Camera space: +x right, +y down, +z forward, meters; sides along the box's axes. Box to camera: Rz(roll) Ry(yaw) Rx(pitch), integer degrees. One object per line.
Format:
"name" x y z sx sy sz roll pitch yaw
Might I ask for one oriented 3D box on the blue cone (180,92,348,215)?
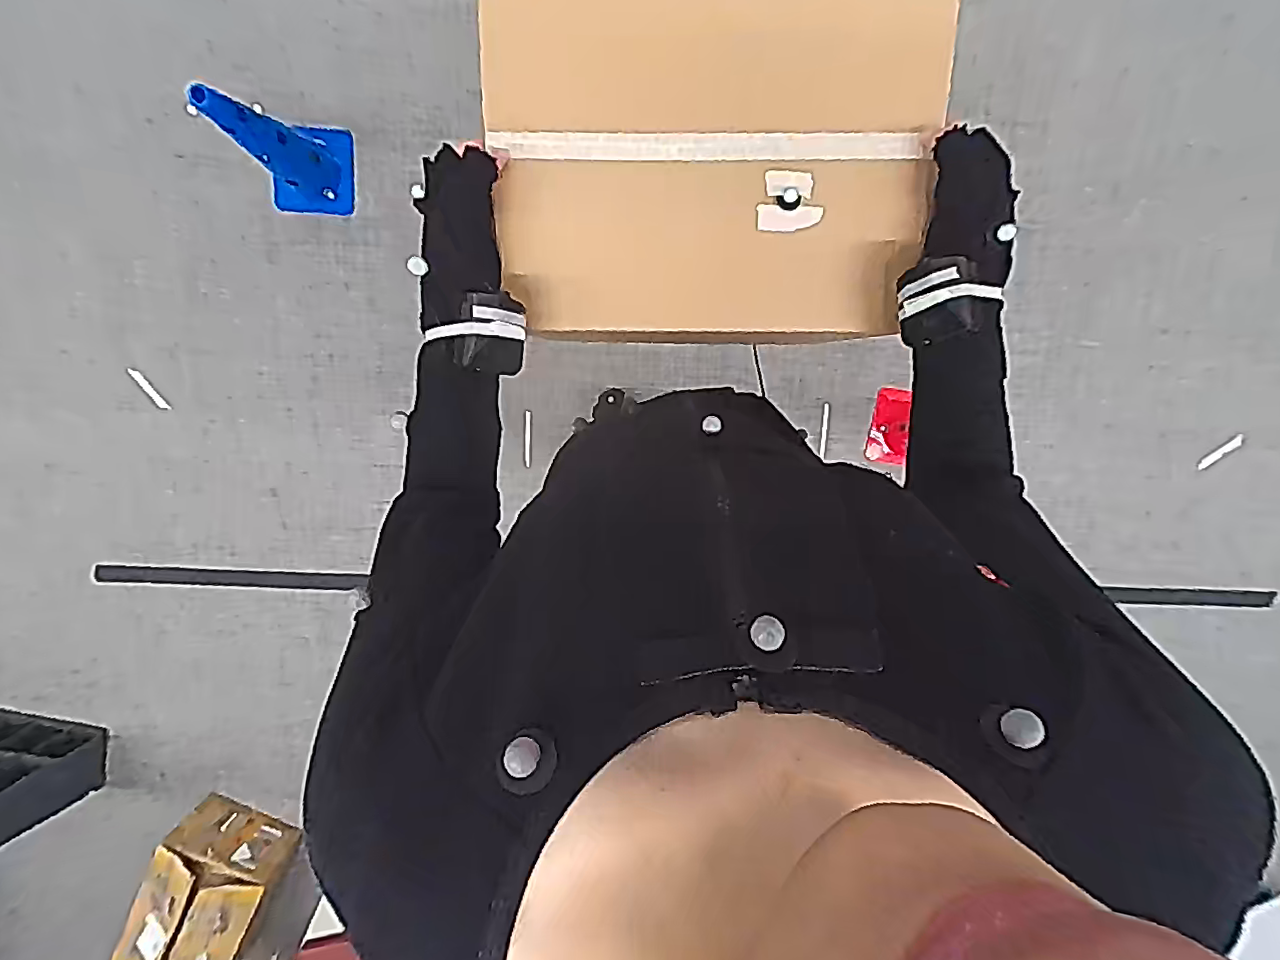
"blue cone" -0.827 -0.738 1.192 0.192 0.380 0.193 5 99 0

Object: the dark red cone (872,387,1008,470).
"dark red cone" 0.717 -0.105 1.257 0.201 0.394 0.202 8 99 0

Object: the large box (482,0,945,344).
"large box" 0.061 -0.327 0.629 0.408 0.320 0.320 0 102 -1
